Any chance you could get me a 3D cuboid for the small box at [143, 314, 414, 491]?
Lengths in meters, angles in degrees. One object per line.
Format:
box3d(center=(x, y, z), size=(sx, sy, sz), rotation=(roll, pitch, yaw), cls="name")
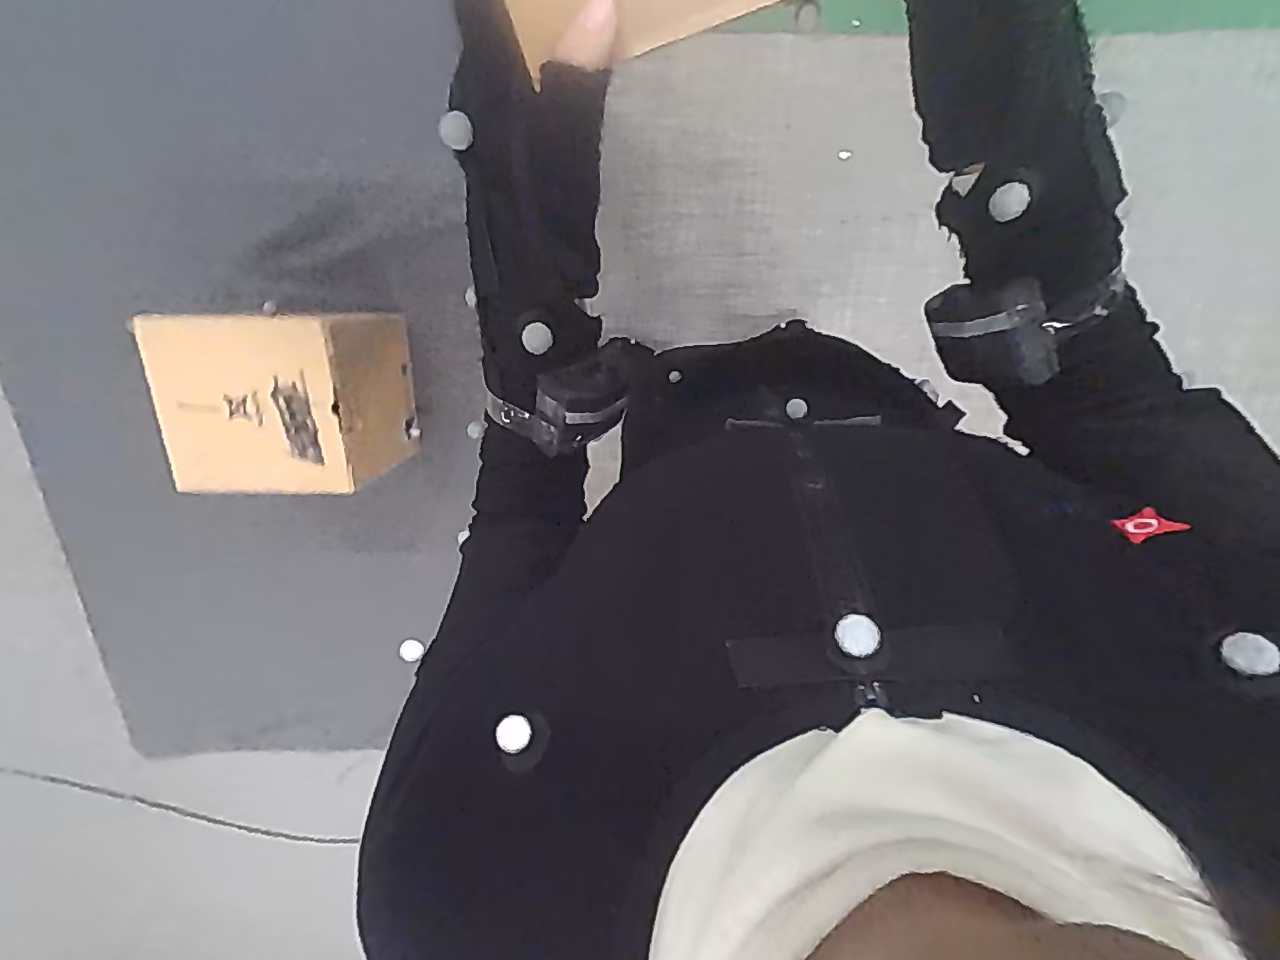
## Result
box3d(center=(-0.364, -0.092, 0.589), size=(0.179, 0.176, 0.168), rotation=(1, 108, 1), cls="small box")
